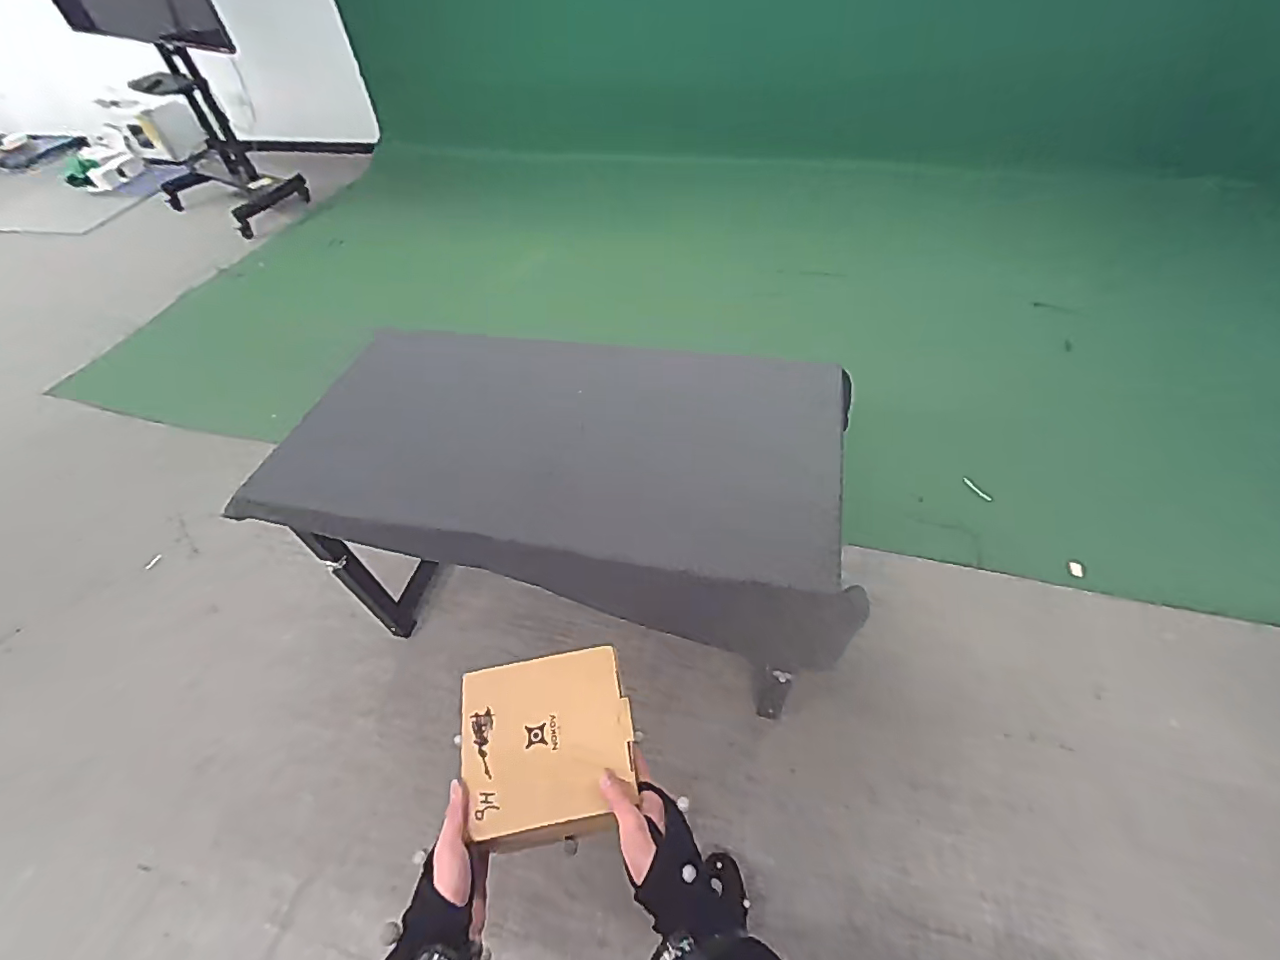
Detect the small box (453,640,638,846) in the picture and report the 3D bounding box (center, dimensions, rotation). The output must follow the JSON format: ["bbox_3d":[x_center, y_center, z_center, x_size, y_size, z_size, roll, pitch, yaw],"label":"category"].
[{"bbox_3d":[-0.102,0.303,0.619,0.179,0.176,0.168,-7,52,-7],"label":"small box"}]
